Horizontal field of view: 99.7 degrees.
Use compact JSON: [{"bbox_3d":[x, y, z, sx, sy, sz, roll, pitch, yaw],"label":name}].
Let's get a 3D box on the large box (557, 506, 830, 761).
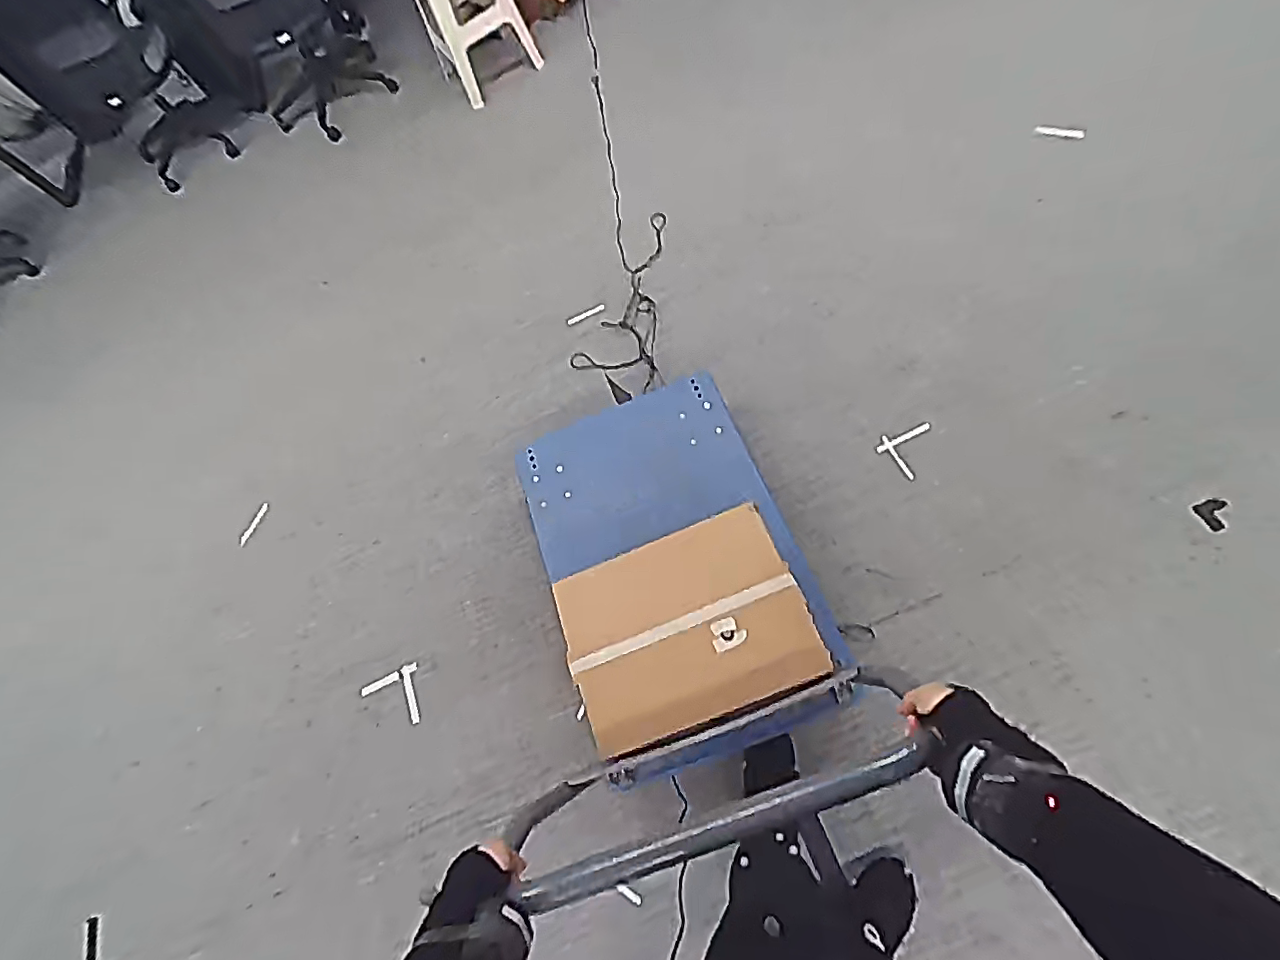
[{"bbox_3d":[0.104,0.311,1.068,0.408,0.320,0.320,-23,65,2],"label":"large box"}]
